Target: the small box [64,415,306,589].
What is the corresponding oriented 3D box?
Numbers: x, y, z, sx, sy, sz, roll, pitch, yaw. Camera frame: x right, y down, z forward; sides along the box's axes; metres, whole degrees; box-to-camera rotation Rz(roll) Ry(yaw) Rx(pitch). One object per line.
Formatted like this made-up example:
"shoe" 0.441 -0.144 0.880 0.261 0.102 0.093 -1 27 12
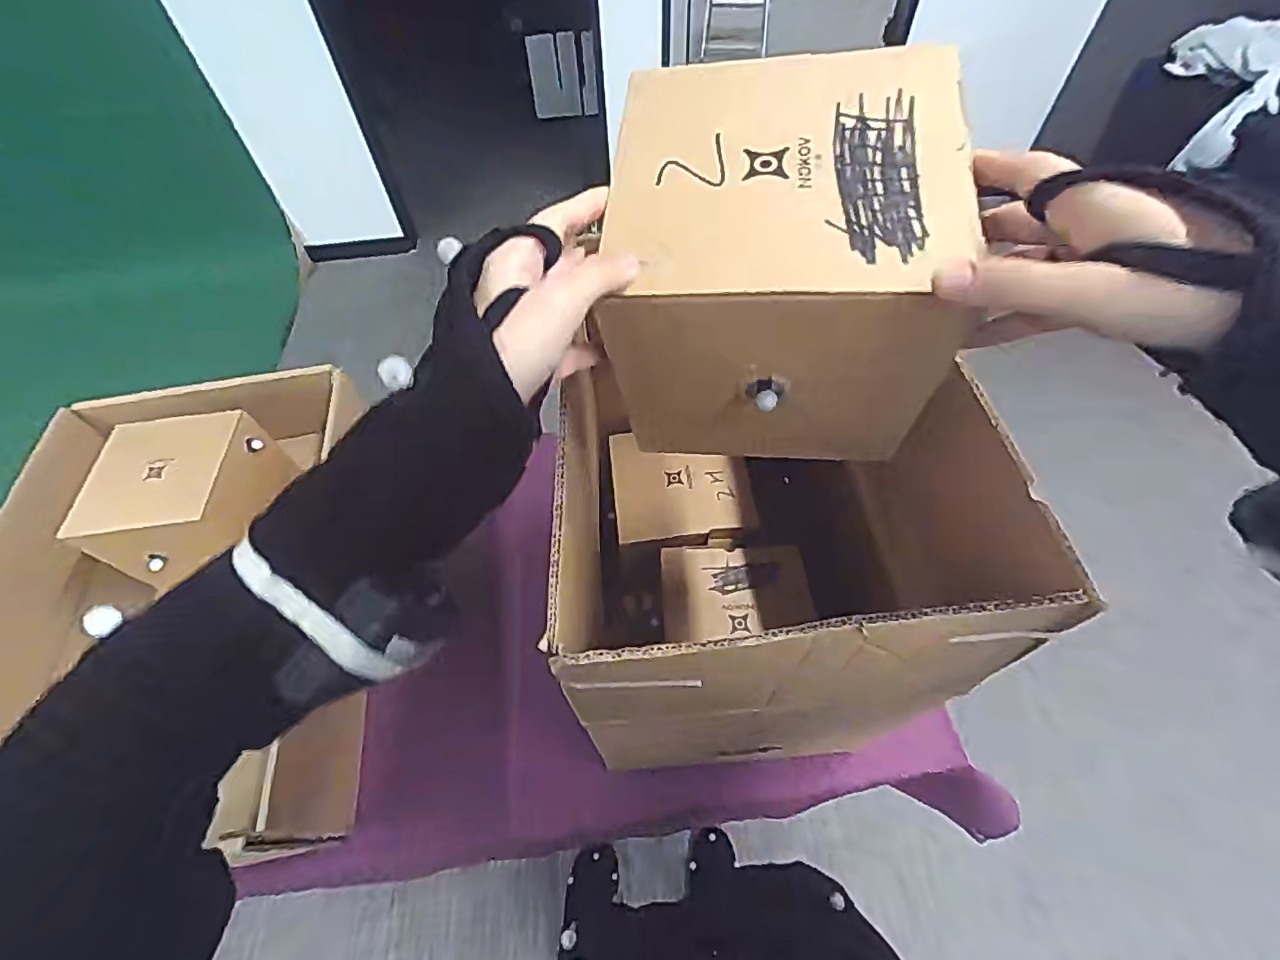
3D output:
"small box" -0.596 0.039 0.741 0.168 0.176 0.179 -8 56 -2
